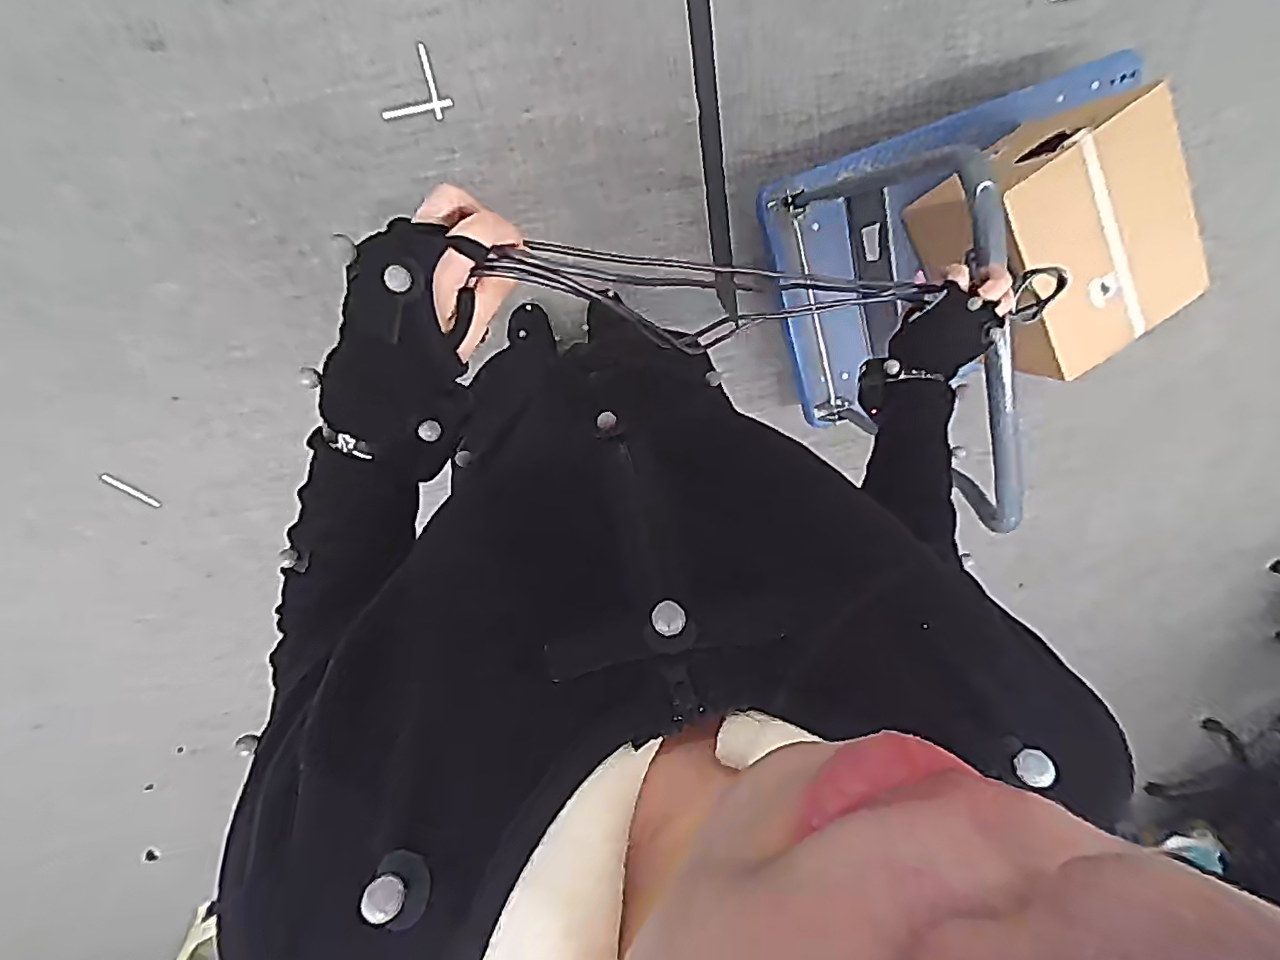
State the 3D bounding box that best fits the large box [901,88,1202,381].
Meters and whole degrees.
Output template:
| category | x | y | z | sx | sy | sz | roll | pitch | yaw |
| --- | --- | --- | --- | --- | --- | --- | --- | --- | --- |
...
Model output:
| category | x | y | z | sx | sy | sz | roll | pitch | yaw |
| --- | --- | --- | --- | --- | --- | --- | --- | --- | --- |
| large box | 0.827 | -0.478 | 1.120 | 0.320 | 0.320 | 0.408 | -35 | 112 | 6 |
